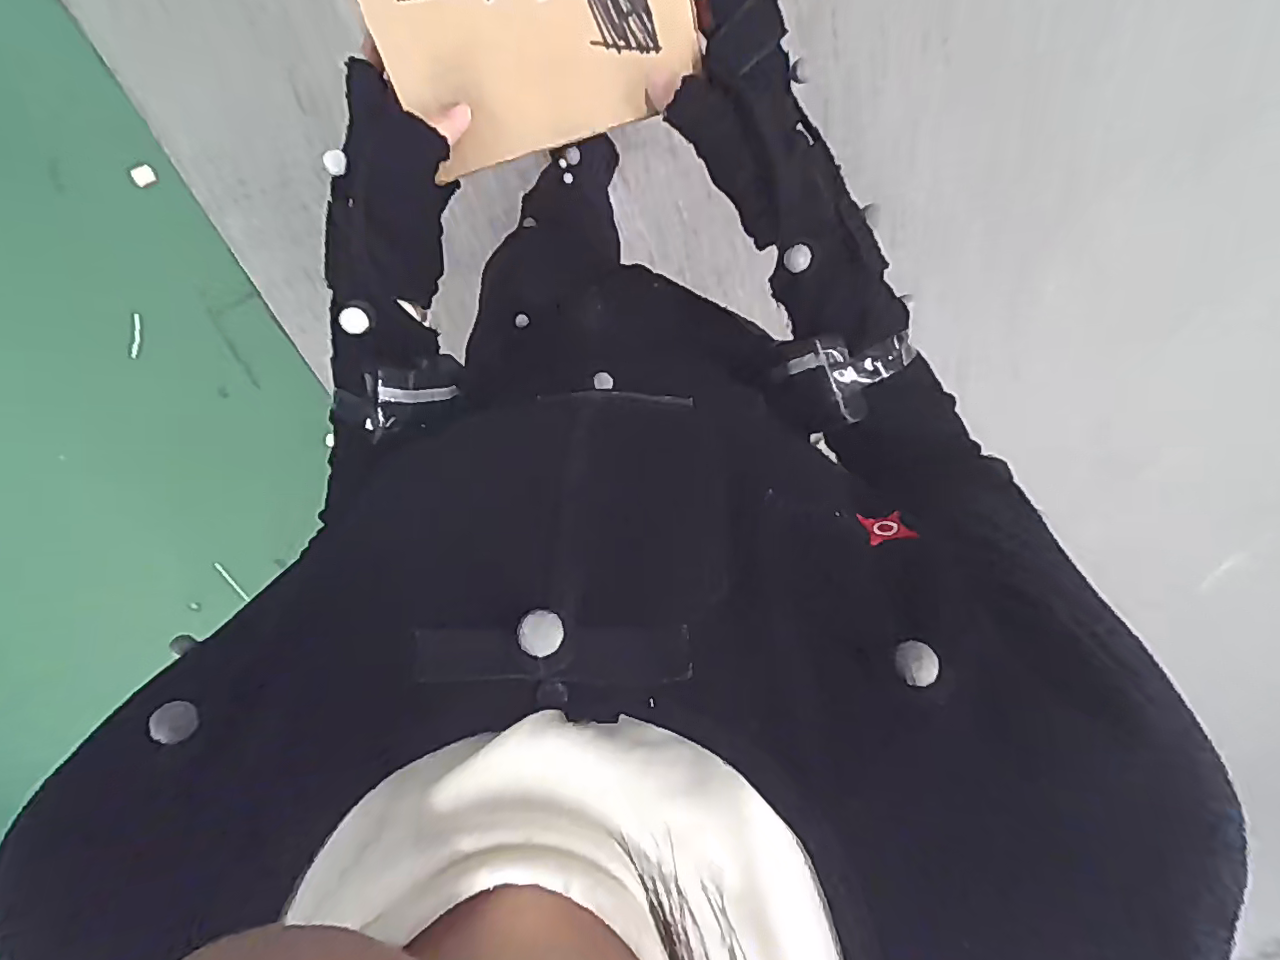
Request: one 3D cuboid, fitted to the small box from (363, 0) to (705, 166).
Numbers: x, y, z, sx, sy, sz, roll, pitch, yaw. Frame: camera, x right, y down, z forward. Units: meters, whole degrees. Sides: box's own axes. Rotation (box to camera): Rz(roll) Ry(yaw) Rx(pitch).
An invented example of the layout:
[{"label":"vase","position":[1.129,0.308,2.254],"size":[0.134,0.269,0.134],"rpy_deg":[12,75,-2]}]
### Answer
[{"label":"small box","position":[-0.065,-0.322,0.343],"size":[0.179,0.176,0.168],"rpy_deg":[-12,124,9]}]
